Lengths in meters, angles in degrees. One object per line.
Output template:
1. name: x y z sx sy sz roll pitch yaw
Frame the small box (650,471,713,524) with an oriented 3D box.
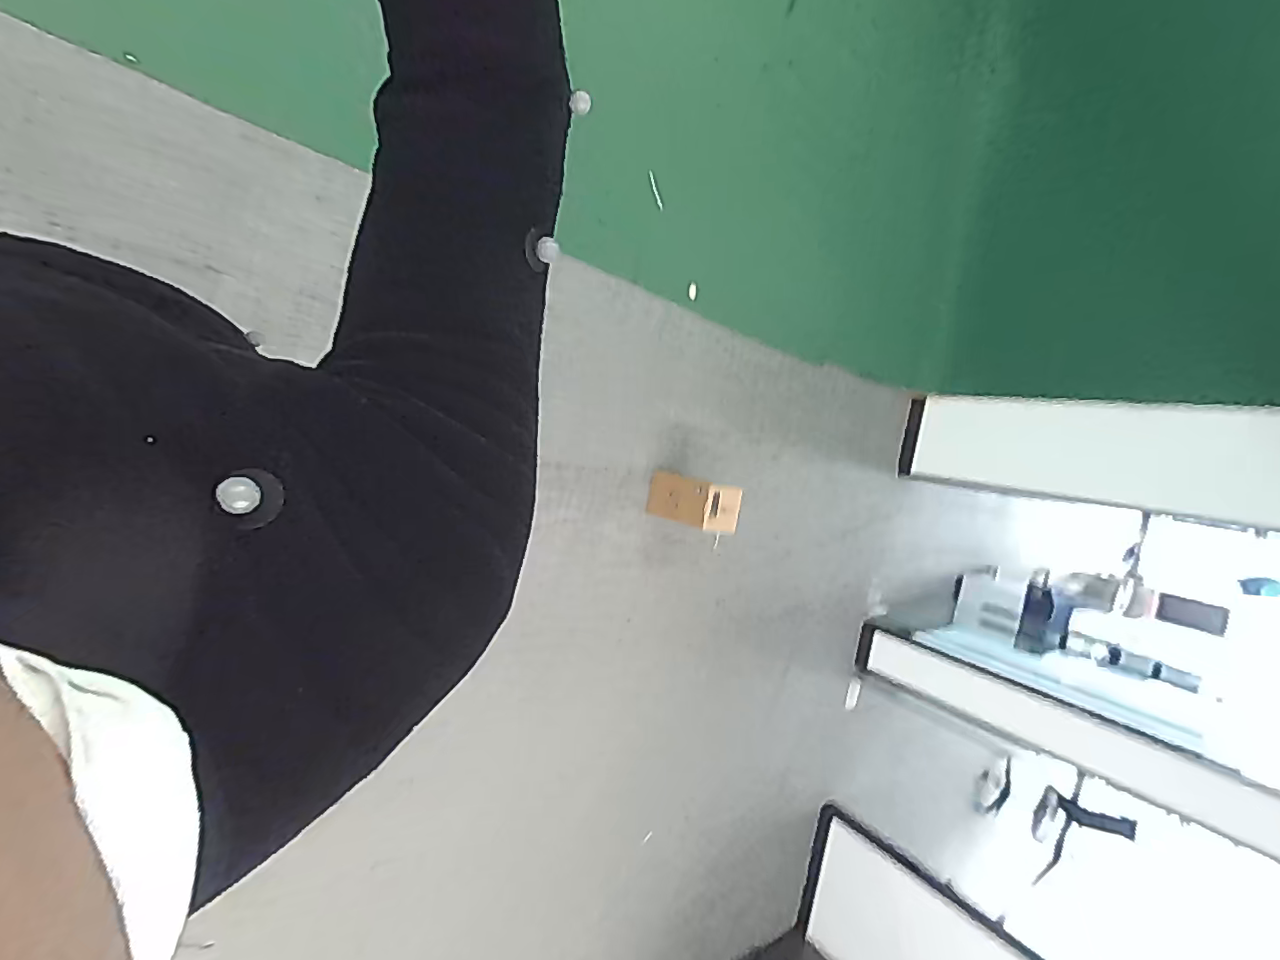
1. small box: 0.159 0.065 2.107 0.168 0.176 0.179 7 95 -38
